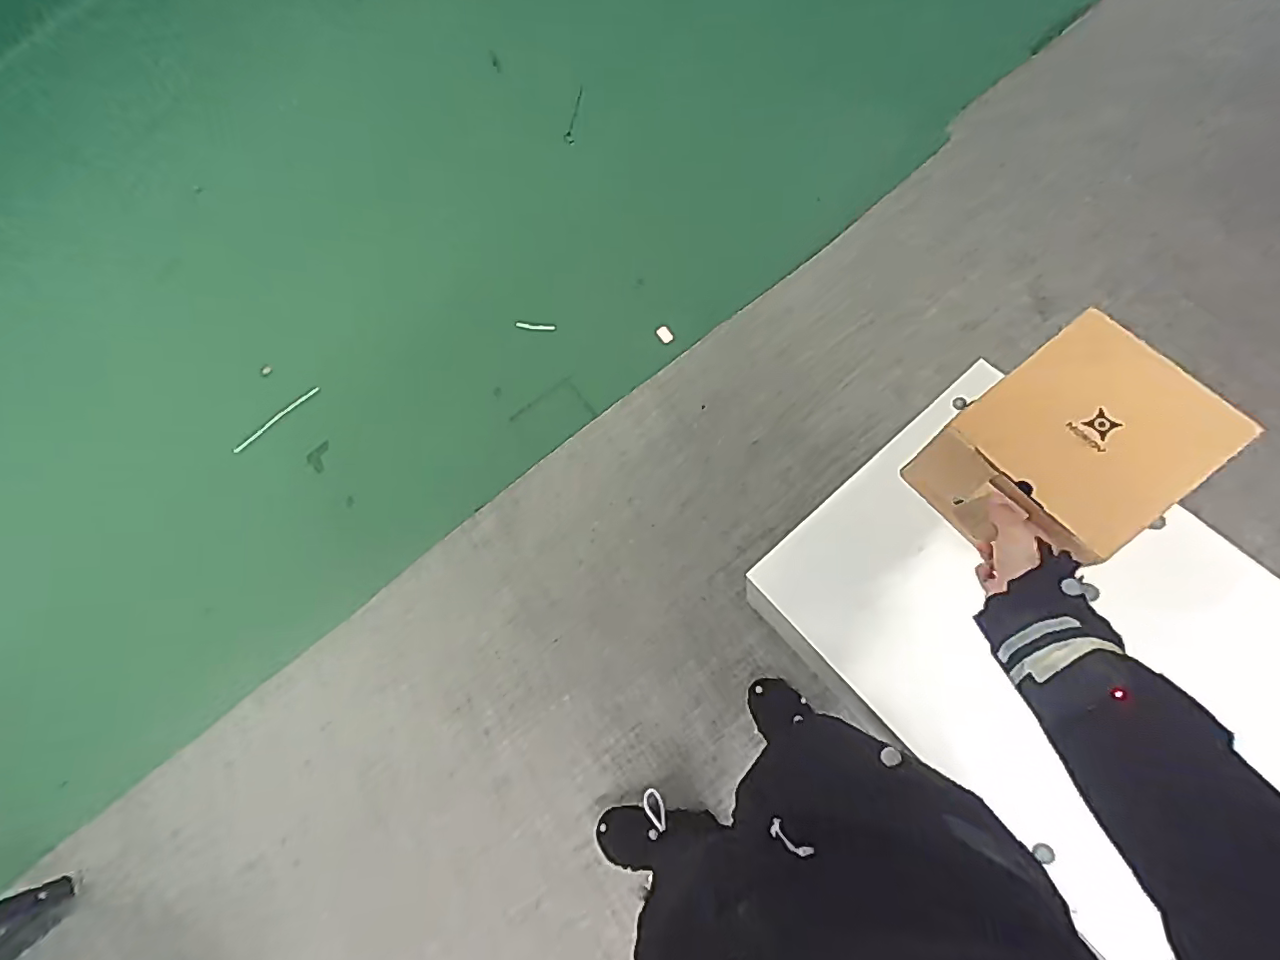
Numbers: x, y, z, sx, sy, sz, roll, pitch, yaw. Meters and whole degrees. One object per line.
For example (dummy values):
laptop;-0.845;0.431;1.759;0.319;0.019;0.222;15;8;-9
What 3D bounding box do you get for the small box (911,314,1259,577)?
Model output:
small box;0.412;-0.021;0.544;0.179;0.176;0.168;-40;72;0
